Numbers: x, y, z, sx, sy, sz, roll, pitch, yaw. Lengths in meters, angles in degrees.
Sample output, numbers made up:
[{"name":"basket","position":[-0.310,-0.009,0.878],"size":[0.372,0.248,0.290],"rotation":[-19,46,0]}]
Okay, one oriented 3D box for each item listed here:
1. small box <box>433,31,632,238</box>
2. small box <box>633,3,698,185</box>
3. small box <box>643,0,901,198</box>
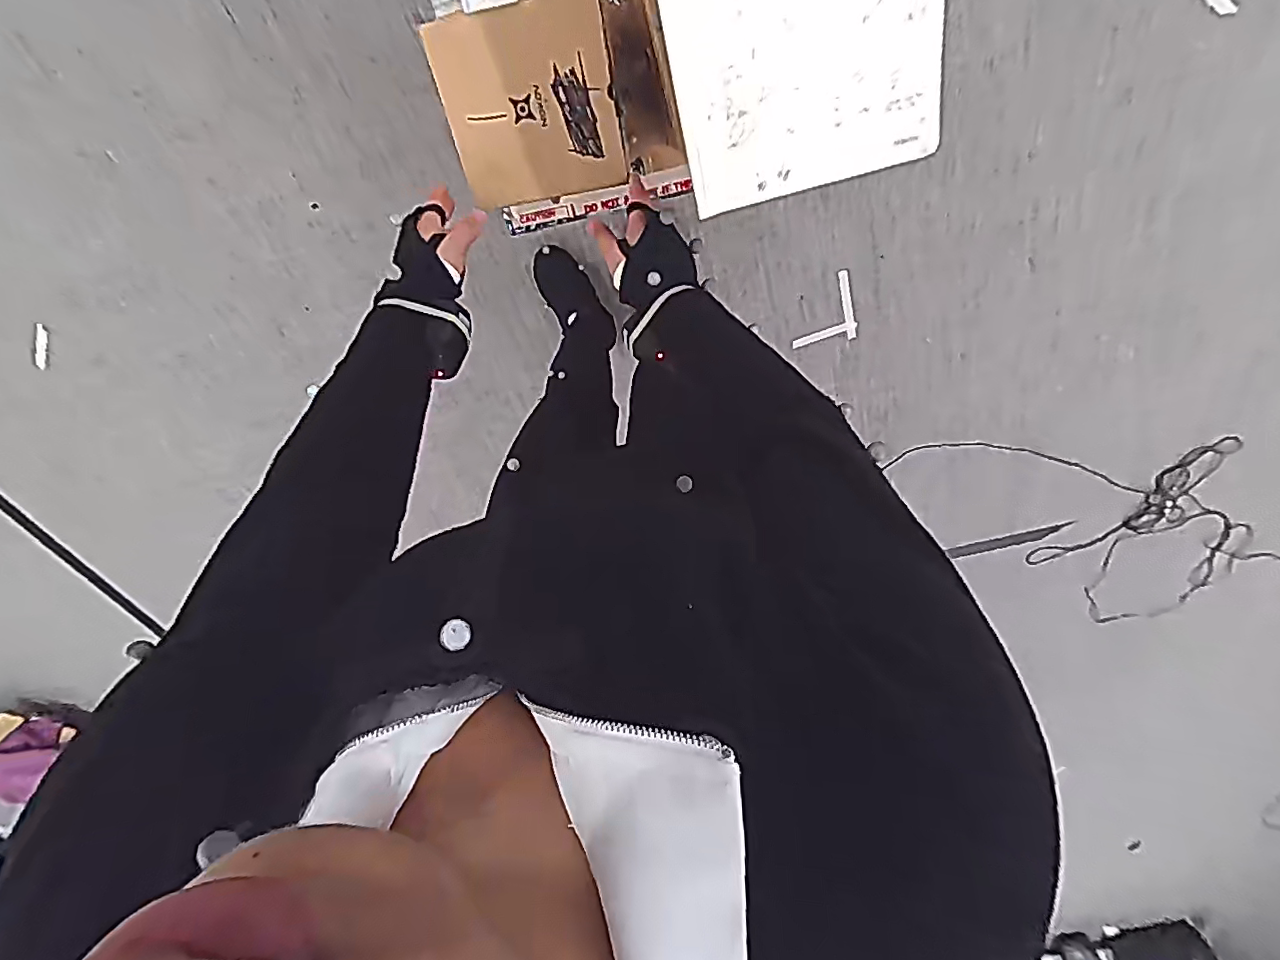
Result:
[{"name":"small box","position":[-0.109,-0.402,0.632],"size":[0.179,0.176,0.168],"rotation":[-8,126,5]},{"name":"small box","position":[0.100,-0.456,0.603],"size":[0.179,0.176,0.168],"rotation":[-17,124,8]},{"name":"small box","position":[0.105,-0.370,0.466],"size":[0.168,0.176,0.179],"rotation":[-16,125,6]}]
